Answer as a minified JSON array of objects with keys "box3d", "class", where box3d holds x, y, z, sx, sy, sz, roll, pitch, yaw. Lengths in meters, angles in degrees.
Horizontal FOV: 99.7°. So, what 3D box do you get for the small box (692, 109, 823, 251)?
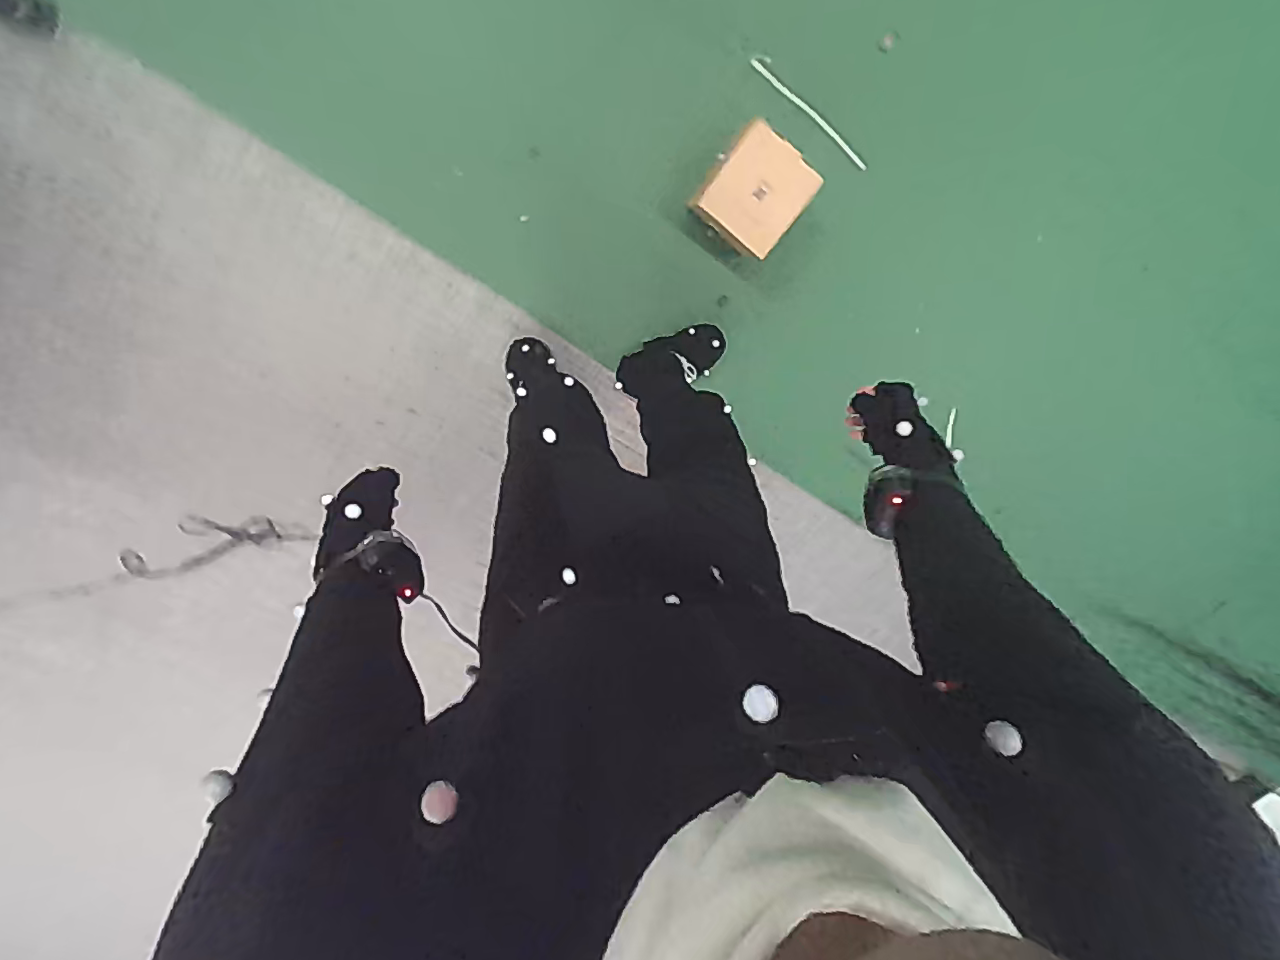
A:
[{"box3d":[0.221,-0.587,1.074,0.168,0.176,0.179,34,111,-17],"class":"small box"}]
